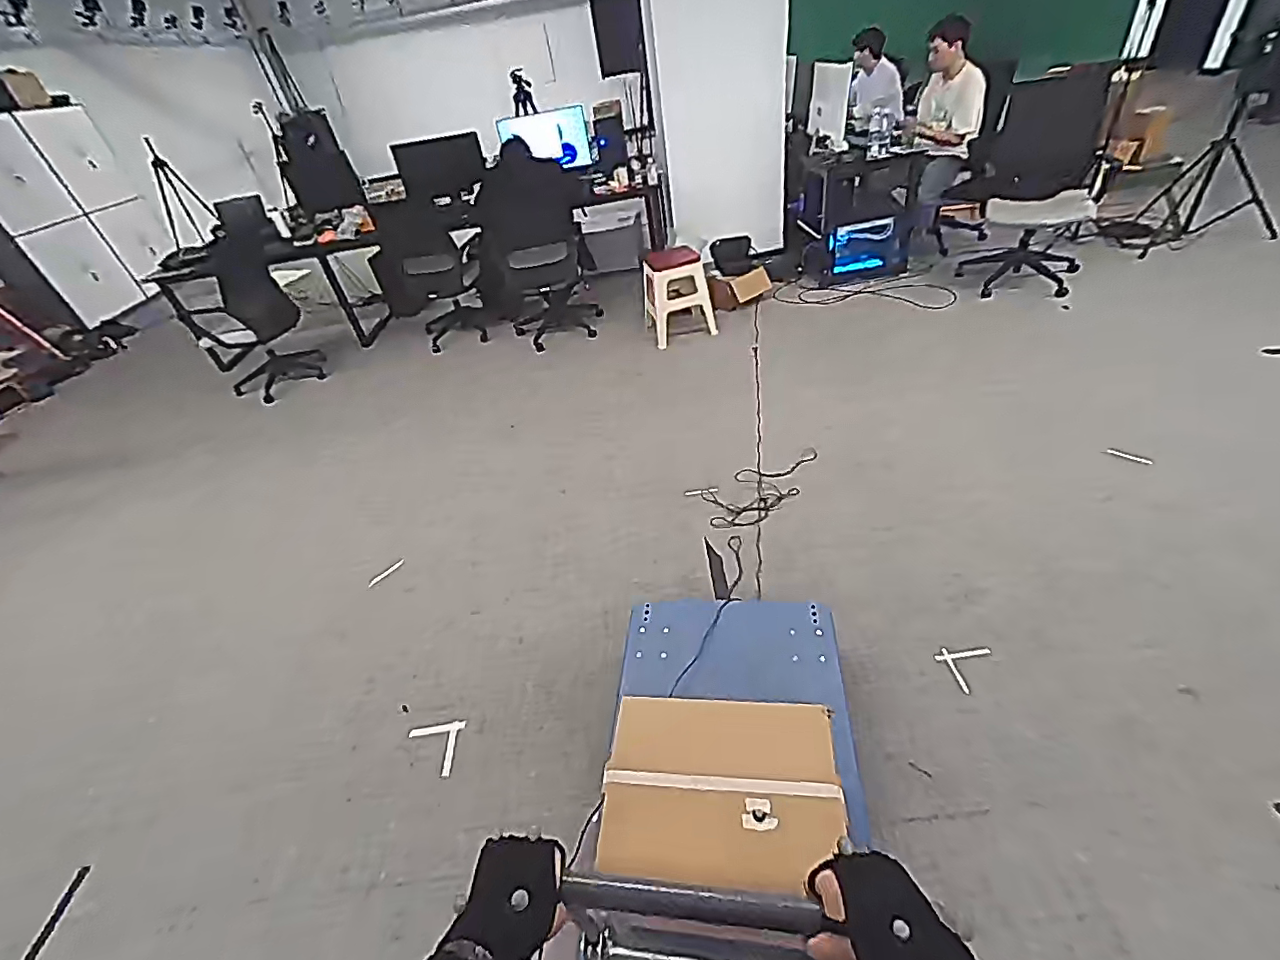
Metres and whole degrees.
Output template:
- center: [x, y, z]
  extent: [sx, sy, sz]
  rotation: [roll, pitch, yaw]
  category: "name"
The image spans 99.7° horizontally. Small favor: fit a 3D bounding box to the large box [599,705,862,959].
- center: [0.163, 0.652, 1.018]
  extent: [0.408, 0.320, 0.320]
  rotation: [-2, 40, 11]
  category: "large box"
